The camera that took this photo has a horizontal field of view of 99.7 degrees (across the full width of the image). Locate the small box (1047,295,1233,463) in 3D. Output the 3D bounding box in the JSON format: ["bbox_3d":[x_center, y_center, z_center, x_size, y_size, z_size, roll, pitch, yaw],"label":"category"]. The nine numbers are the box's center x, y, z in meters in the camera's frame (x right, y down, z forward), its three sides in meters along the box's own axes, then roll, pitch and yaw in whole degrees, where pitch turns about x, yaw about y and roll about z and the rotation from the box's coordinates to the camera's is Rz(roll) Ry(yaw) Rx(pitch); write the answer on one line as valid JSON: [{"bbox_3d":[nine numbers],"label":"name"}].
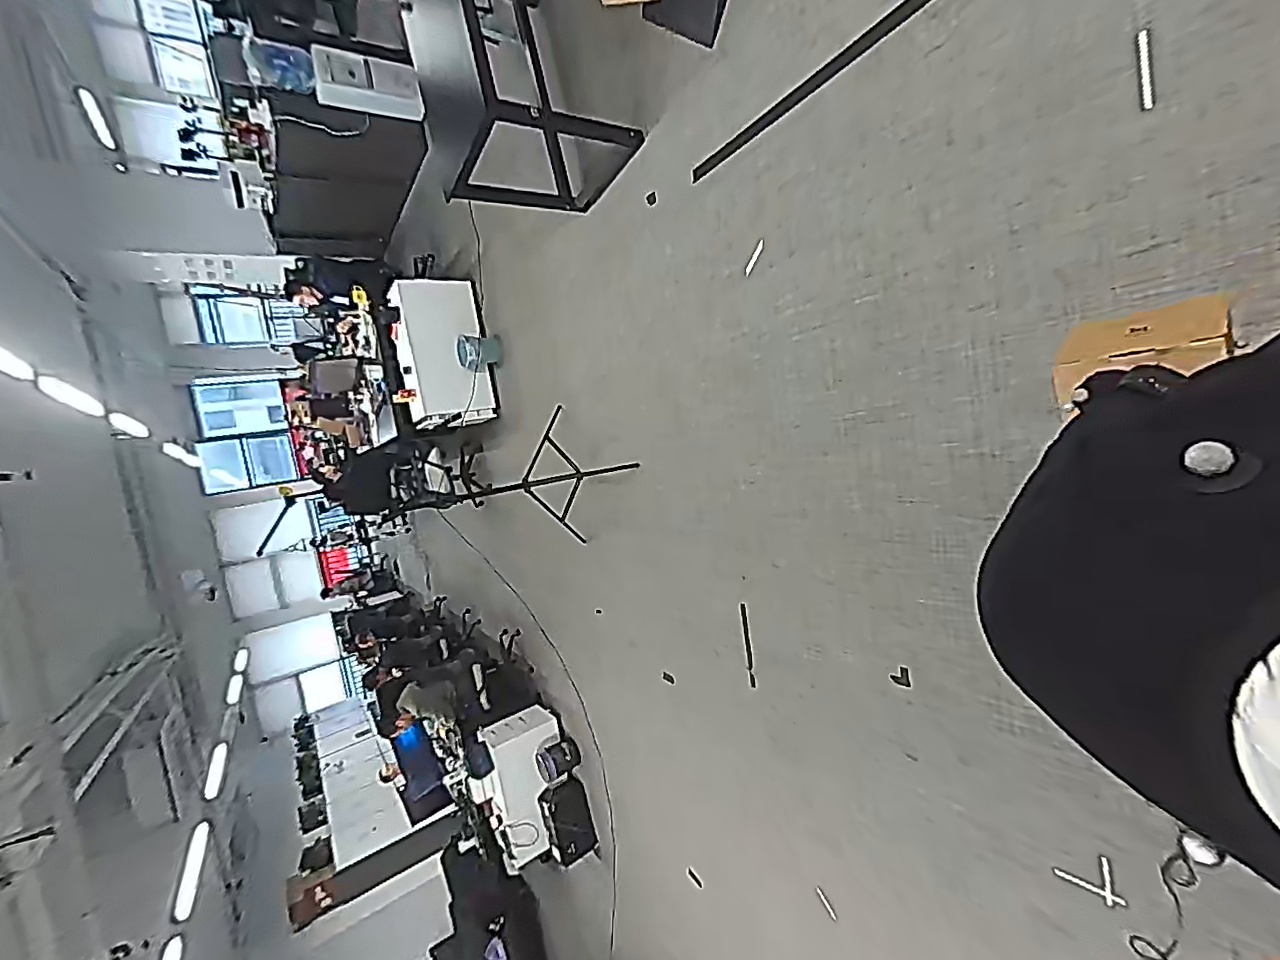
[{"bbox_3d":[0.703,-0.130,0.757,0.168,0.179,0.176,-4,116,50],"label":"small box"}]
